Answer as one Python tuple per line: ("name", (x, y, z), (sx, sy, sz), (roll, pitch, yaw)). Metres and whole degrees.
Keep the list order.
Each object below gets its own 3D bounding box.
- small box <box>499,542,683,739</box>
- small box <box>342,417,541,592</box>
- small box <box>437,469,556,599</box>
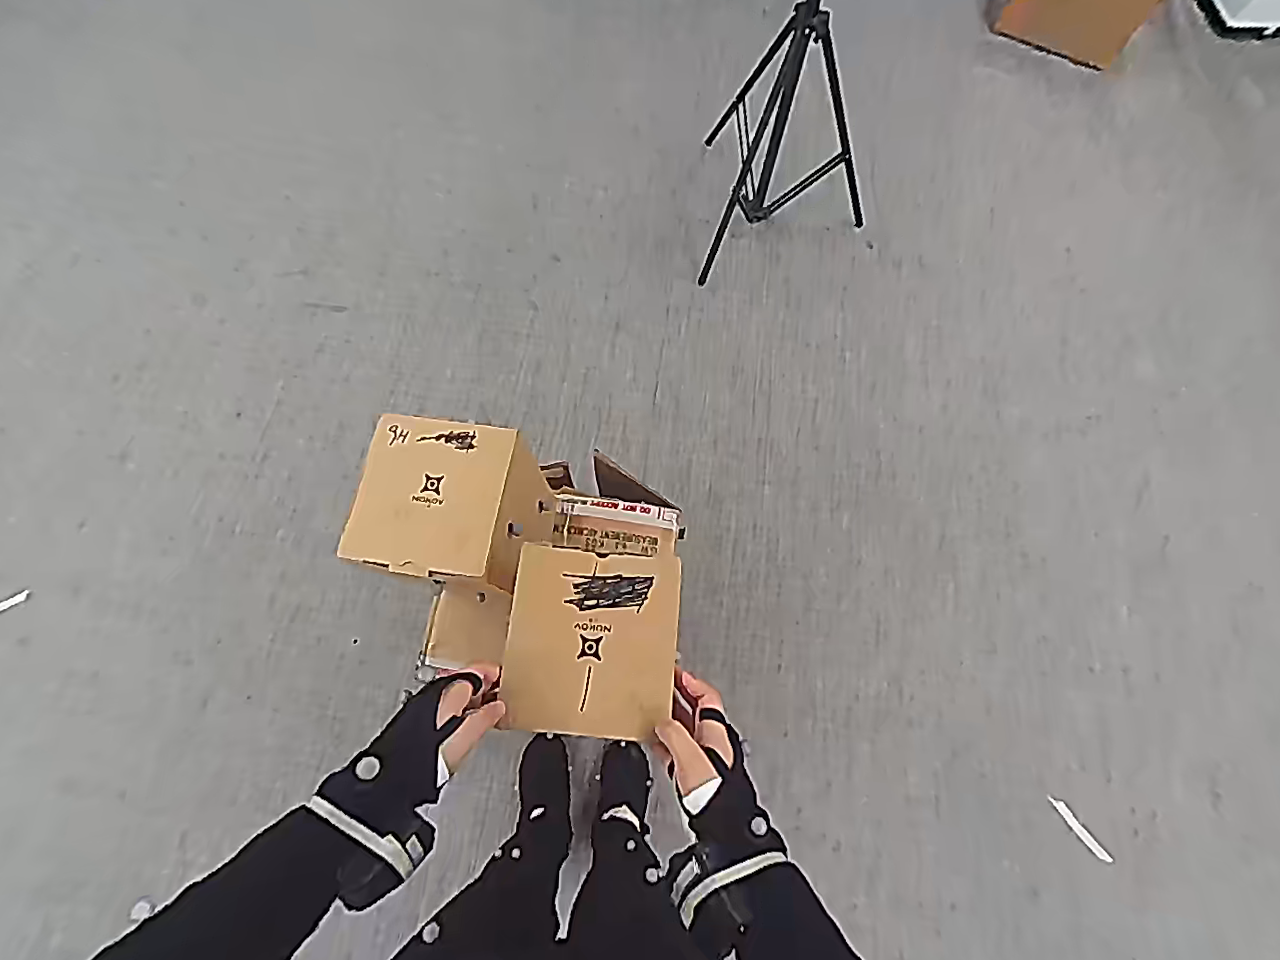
("small box", (-0.048, 0.178, 0.607), (0.168, 0.176, 0.179), (5, 72, -1))
("small box", (-0.230, 0.041, 0.680), (0.168, 0.176, 0.179), (7, 73, 3))
("small box", (-0.233, 0.083, 0.839), (0.168, 0.176, 0.179), (5, 72, 3))
